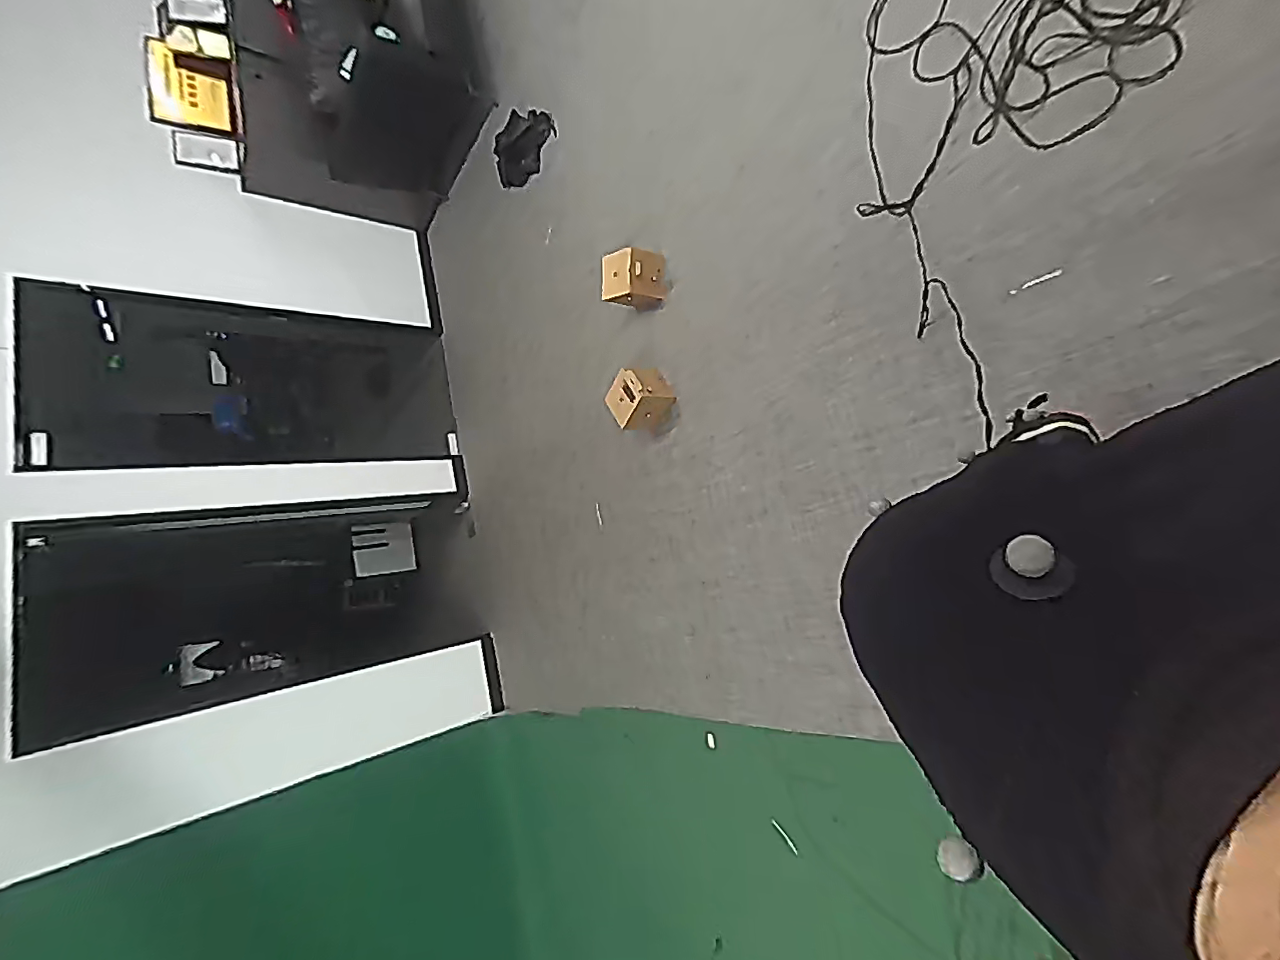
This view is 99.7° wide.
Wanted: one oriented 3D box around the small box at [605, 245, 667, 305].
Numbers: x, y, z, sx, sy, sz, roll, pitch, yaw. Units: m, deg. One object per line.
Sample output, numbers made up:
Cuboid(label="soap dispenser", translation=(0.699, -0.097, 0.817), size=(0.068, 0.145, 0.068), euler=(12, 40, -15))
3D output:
Cuboid(label="small box", translation=(-0.016, -0.776, 2.067), size=(0.179, 0.176, 0.168), euler=(7, 98, 50))
